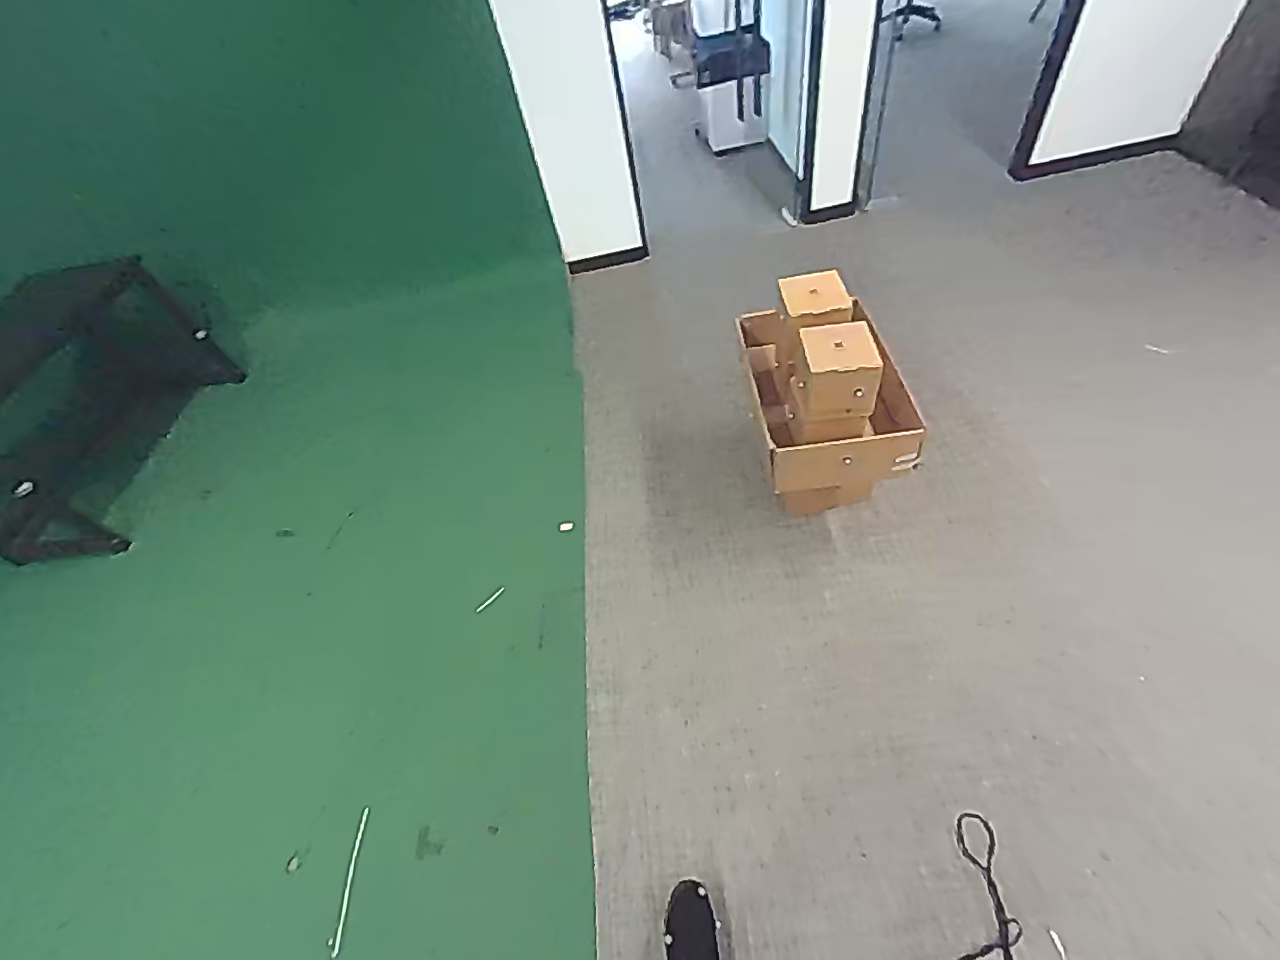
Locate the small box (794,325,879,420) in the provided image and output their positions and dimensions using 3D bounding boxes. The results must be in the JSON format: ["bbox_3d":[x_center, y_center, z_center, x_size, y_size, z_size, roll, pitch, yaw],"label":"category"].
[{"bbox_3d":[0.493,-0.267,1.379,0.168,0.176,0.179,-4,50,7],"label":"small box"}]

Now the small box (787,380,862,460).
[{"bbox_3d":[0.511,-0.170,1.509,0.168,0.176,0.179,-7,49,6],"label":"small box"}]

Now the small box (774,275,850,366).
[{"bbox_3d":[0.482,-0.452,1.539,0.168,0.176,0.179,-7,52,6],"label":"small box"}]
